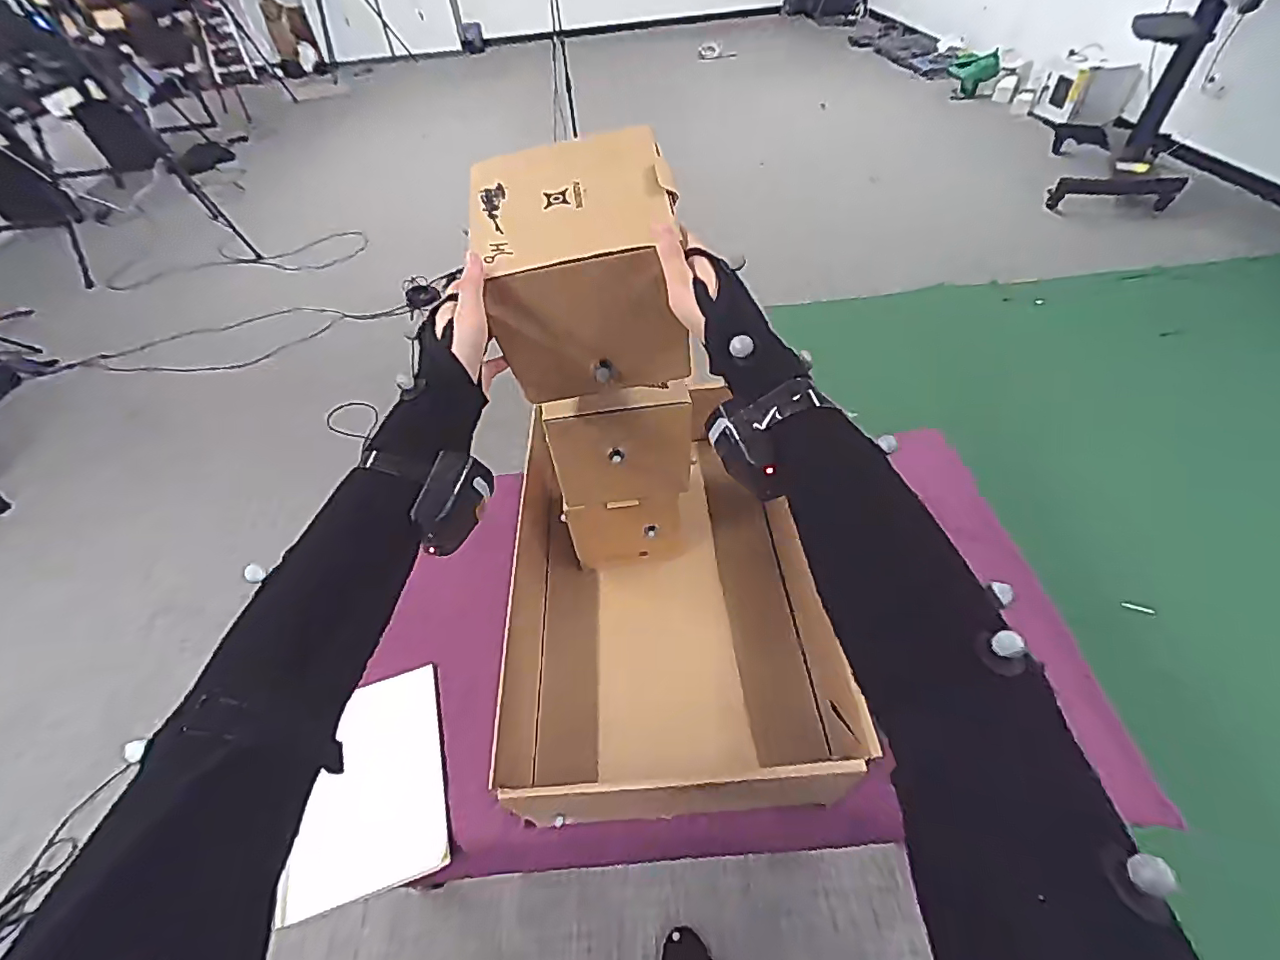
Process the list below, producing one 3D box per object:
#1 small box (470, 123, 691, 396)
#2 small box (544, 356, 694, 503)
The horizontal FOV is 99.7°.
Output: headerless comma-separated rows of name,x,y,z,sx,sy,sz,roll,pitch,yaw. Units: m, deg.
small box,-0.049,-0.203,0.525,0.179,0.176,0.168,-9,60,1
small box,-0.028,-0.088,0.731,0.179,0.176,0.168,-7,49,-1
